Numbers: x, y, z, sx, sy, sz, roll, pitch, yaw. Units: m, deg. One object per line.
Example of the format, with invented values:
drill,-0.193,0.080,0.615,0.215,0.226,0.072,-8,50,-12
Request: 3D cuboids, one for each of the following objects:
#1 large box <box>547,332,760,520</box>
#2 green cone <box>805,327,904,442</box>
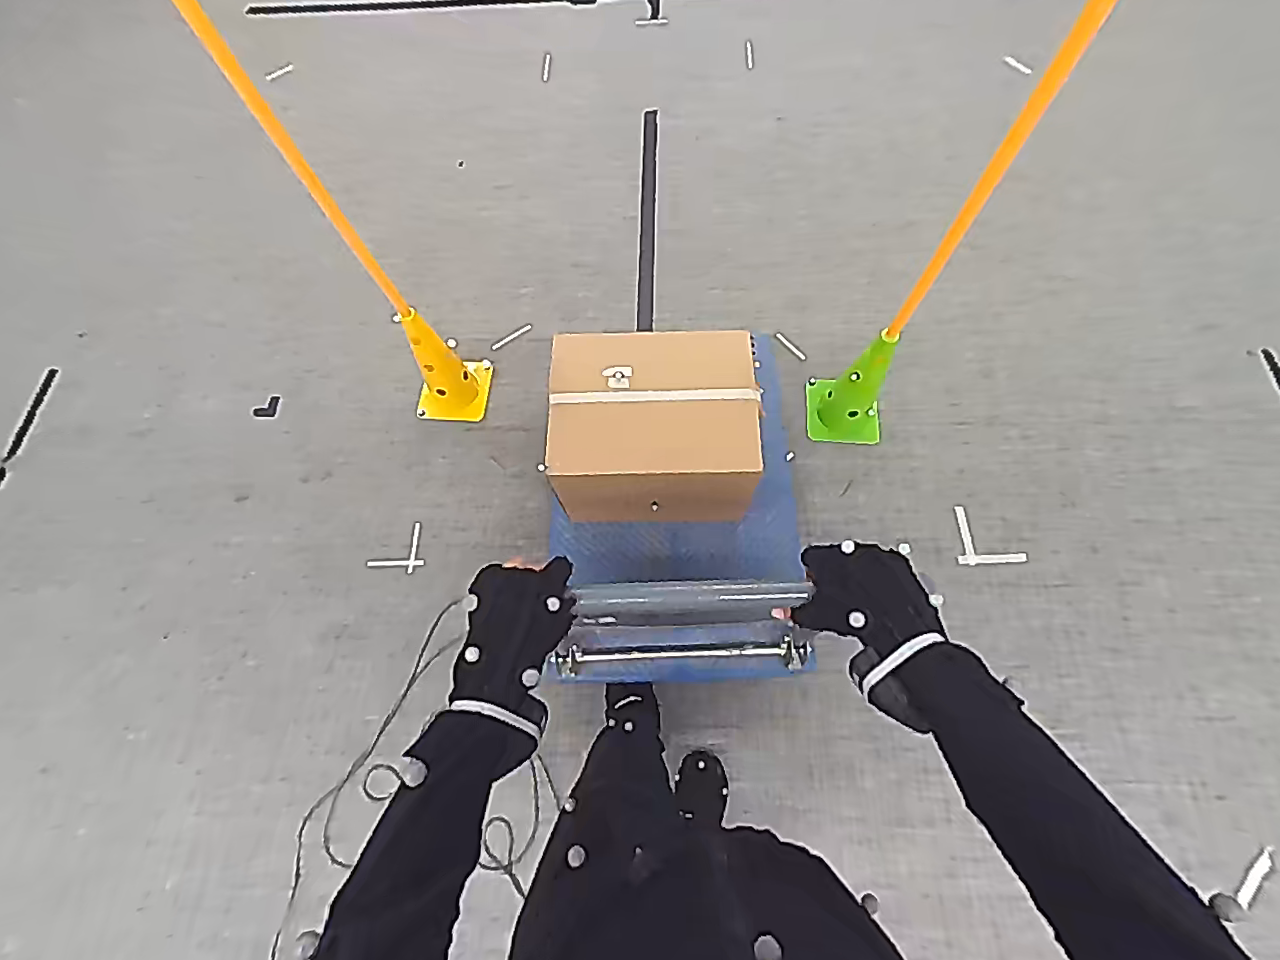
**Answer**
large box,0.030,-0.101,1.195,0.408,0.320,0.320,-1,69,2
green cone,0.576,-0.265,1.393,0.202,0.368,0.200,4,69,2
